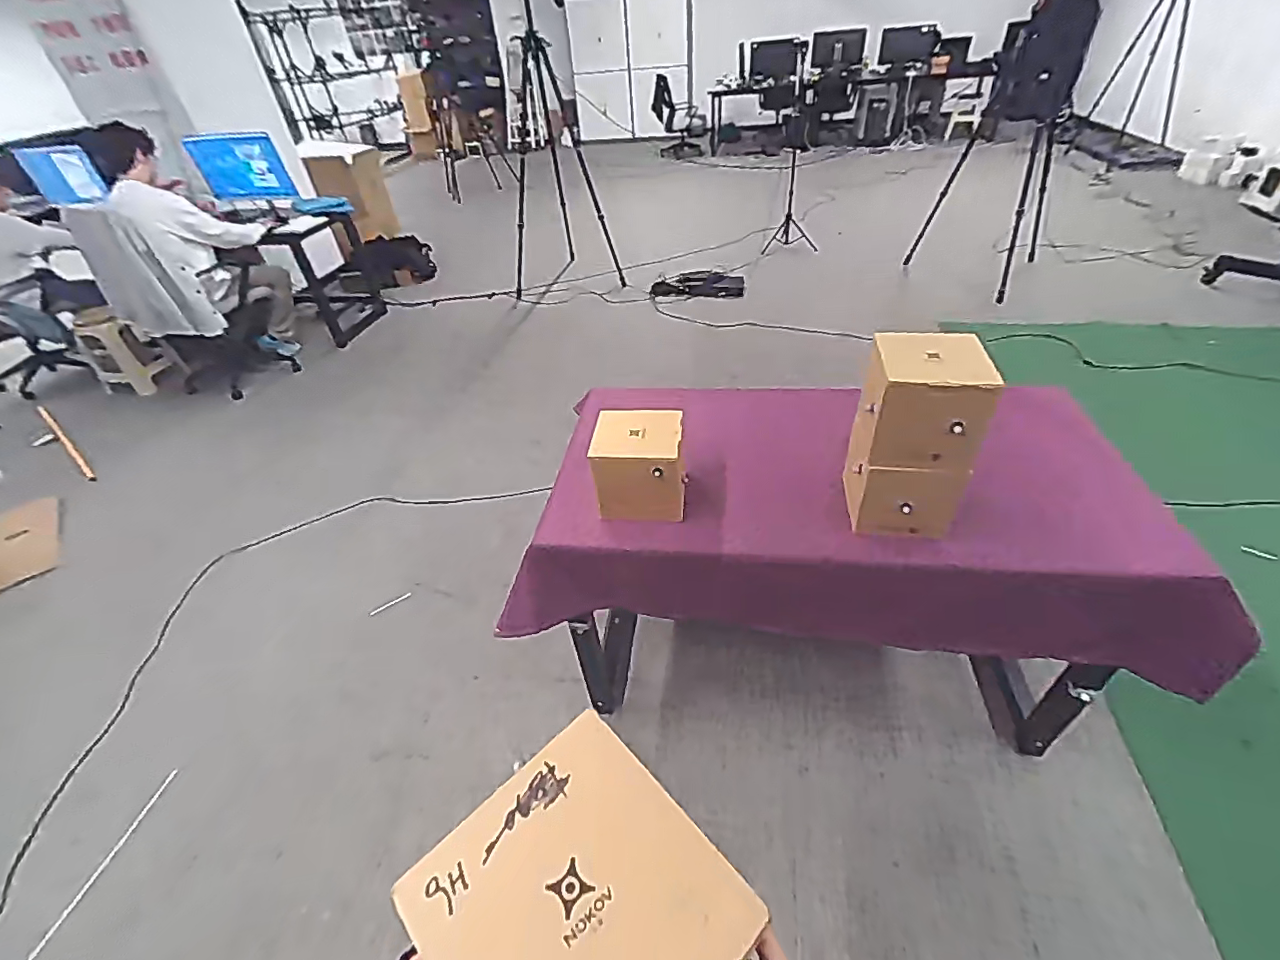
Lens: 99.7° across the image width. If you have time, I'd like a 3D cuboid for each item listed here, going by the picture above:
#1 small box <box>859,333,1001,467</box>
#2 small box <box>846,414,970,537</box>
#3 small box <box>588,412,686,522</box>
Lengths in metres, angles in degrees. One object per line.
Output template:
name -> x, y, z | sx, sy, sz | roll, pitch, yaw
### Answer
small box -> 0.482, -0.137, 0.928 | 0.168, 0.176, 0.179 | 4, 40, 12
small box -> 0.496, -0.010, 1.029 | 0.168, 0.176, 0.179 | 3, 40, 11
small box -> 0.002, -0.027, 1.124 | 0.179, 0.176, 0.168 | 1, 40, 8
